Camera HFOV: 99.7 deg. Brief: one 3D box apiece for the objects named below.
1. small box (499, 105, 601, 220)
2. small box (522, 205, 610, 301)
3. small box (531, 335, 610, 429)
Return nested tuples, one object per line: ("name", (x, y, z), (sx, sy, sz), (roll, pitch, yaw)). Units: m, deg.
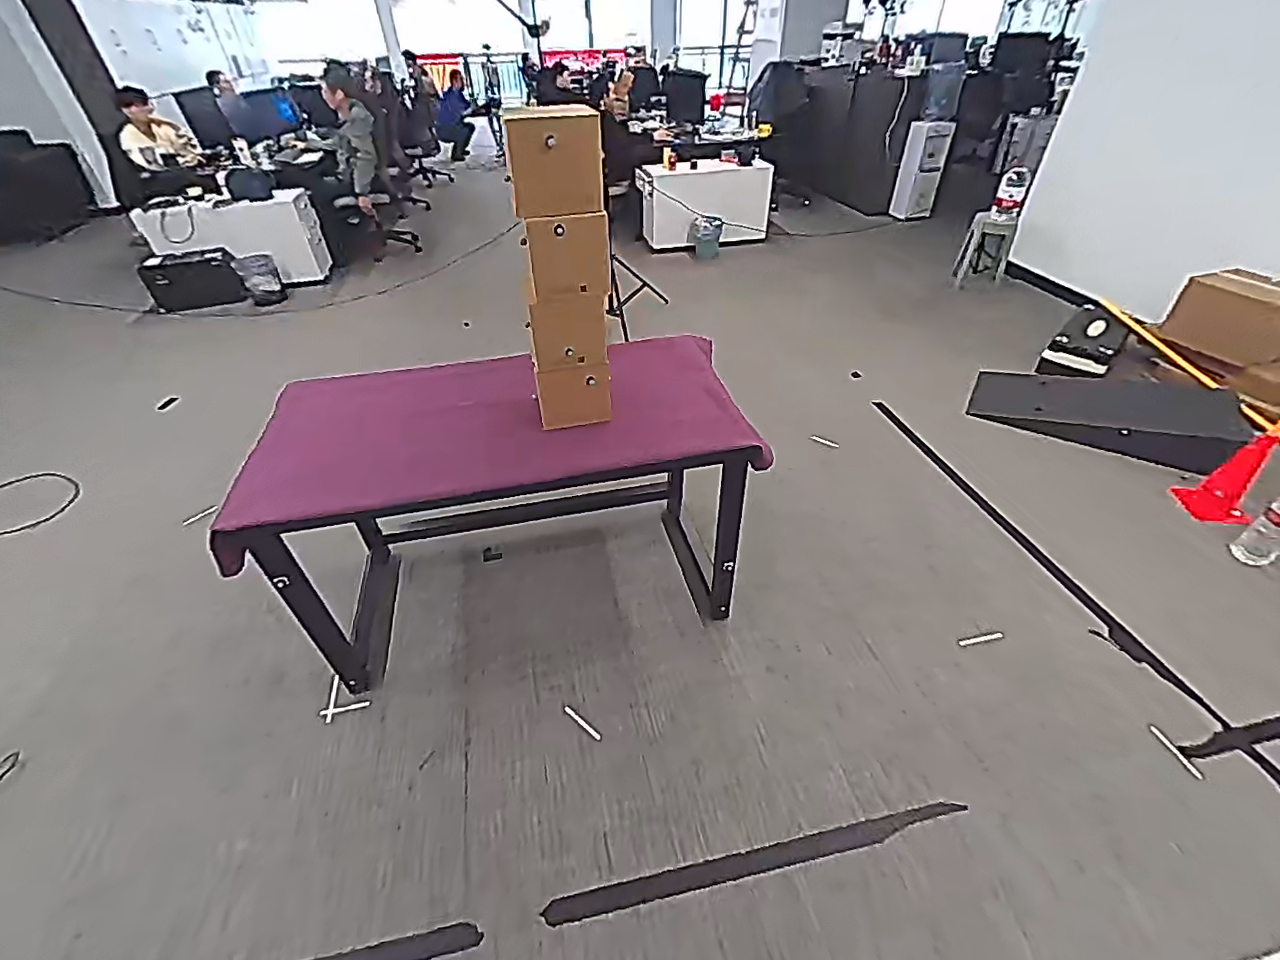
("small box", (-0.177, -0.636, 1.082), (0.179, 0.176, 0.168), (-11, 41, -10))
("small box", (-0.164, -0.505, 1.179), (0.168, 0.176, 0.179), (-10, 41, -10))
("small box", (-0.175, -0.251, 1.386), (0.179, 0.176, 0.168), (-10, 40, -9))
